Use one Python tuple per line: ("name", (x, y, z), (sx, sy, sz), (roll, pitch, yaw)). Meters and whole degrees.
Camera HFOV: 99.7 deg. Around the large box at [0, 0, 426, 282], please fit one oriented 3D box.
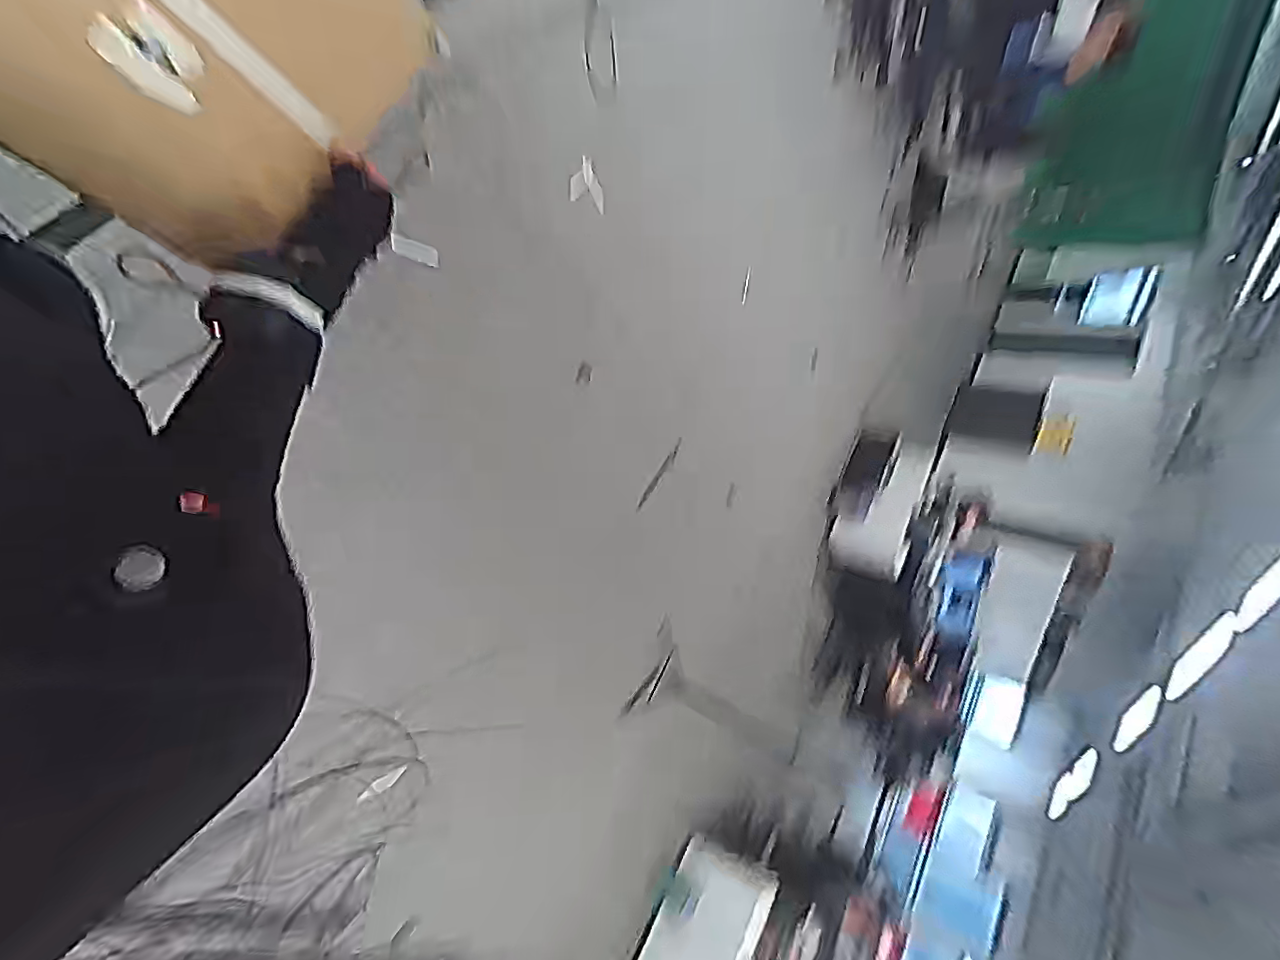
("large box", (-0.479, -0.434, 0.425), (0.320, 0.320, 0.408), (-57, 148, -4))
